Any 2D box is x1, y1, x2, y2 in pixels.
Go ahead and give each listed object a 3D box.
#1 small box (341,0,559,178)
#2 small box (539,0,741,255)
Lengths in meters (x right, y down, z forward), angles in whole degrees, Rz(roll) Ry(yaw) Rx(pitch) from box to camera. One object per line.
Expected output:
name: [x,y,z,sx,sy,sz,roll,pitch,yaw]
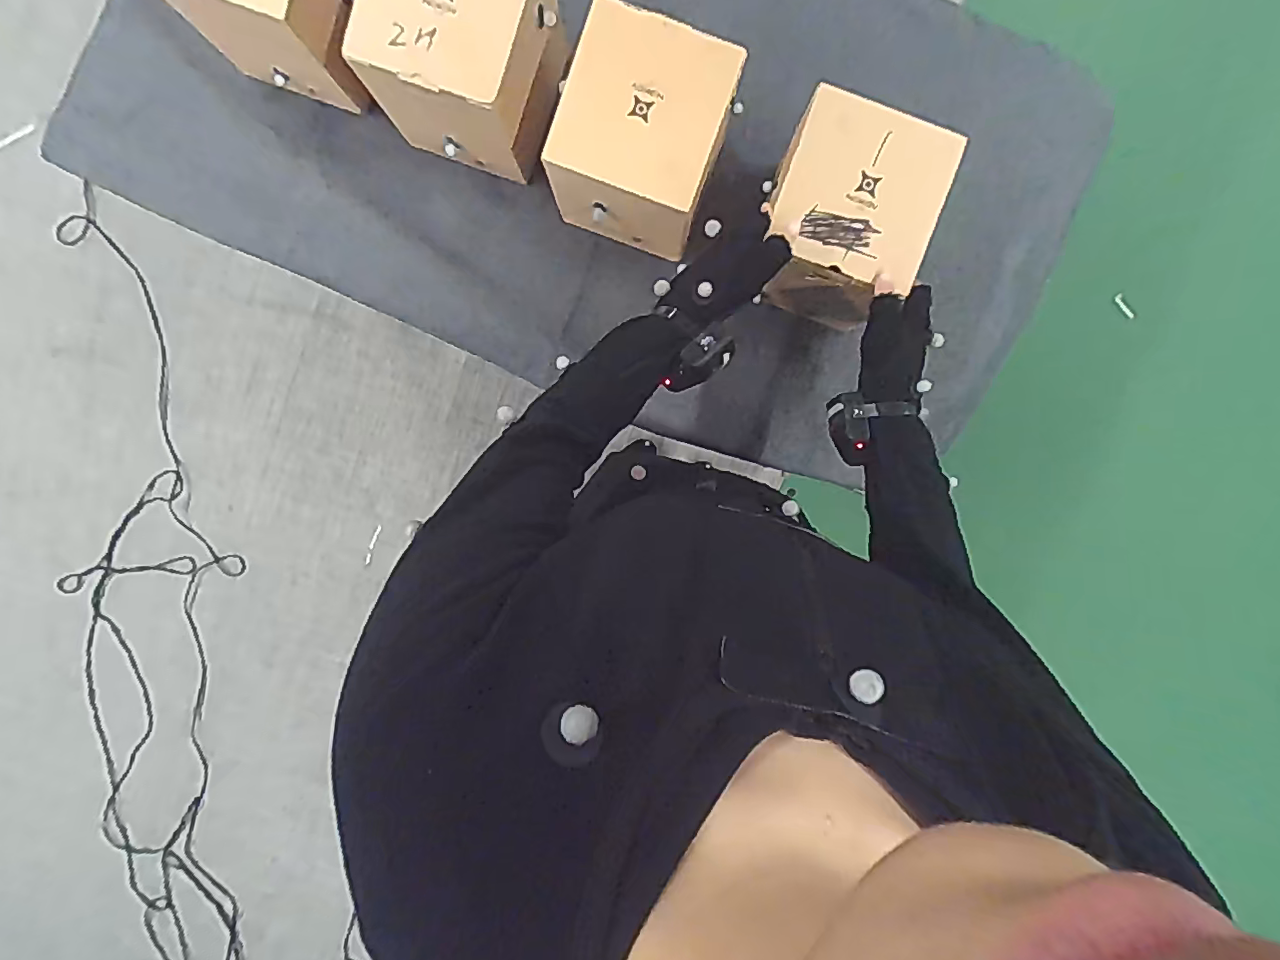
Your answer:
small box: [-0.199,-0.494,0.621,0.168,0.176,0.179,19,94,-1]
small box: [0.001,-0.393,0.632,0.168,0.176,0.179,20,93,-2]
